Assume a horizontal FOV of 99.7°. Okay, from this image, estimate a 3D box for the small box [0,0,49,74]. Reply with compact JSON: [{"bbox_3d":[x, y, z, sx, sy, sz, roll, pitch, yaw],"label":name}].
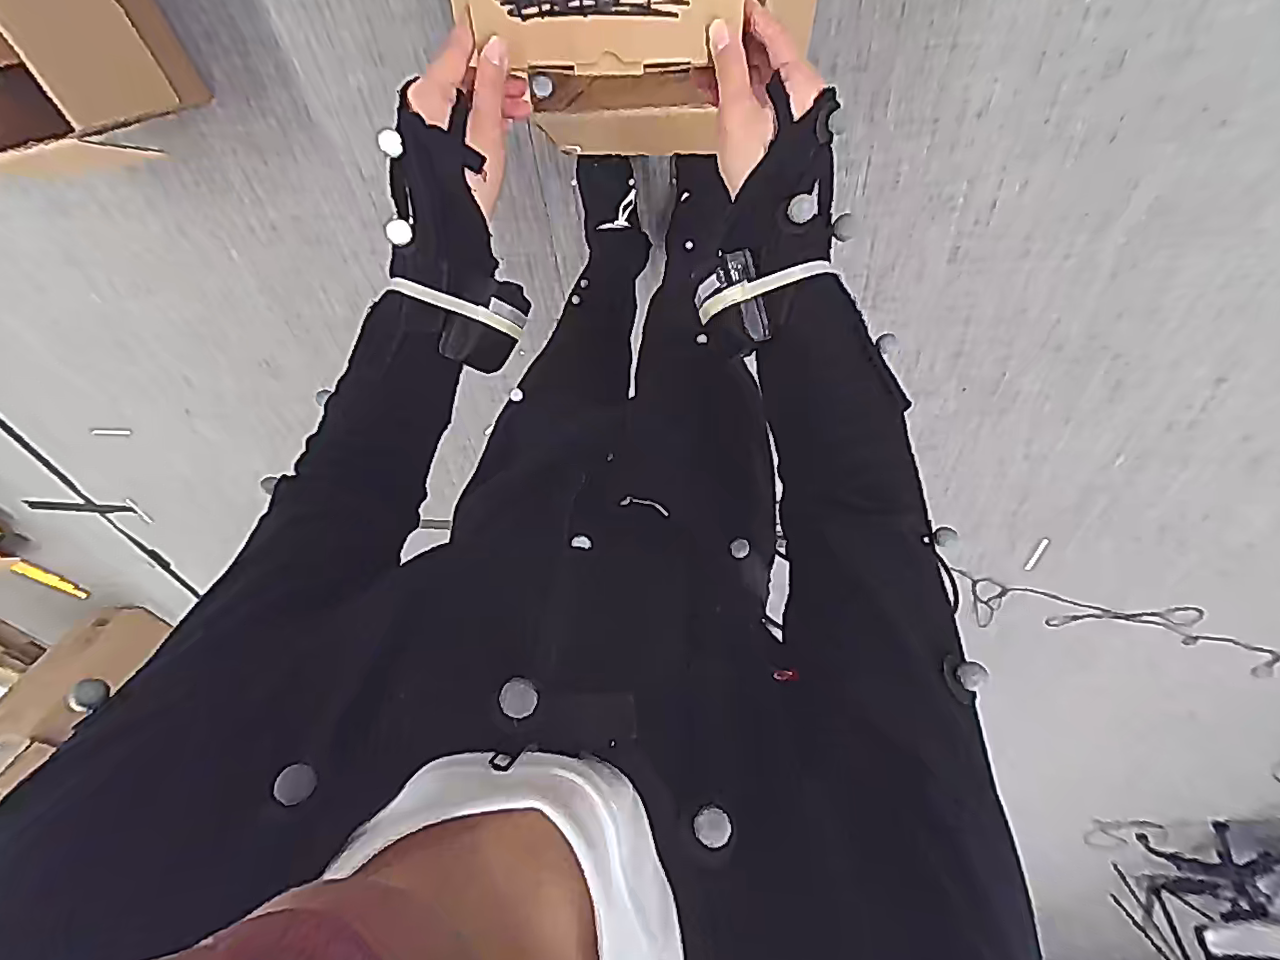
[{"bbox_3d":[-1.050,-0.686,0.776,0.168,0.176,0.179,-1,133,12],"label":"small box"}]
